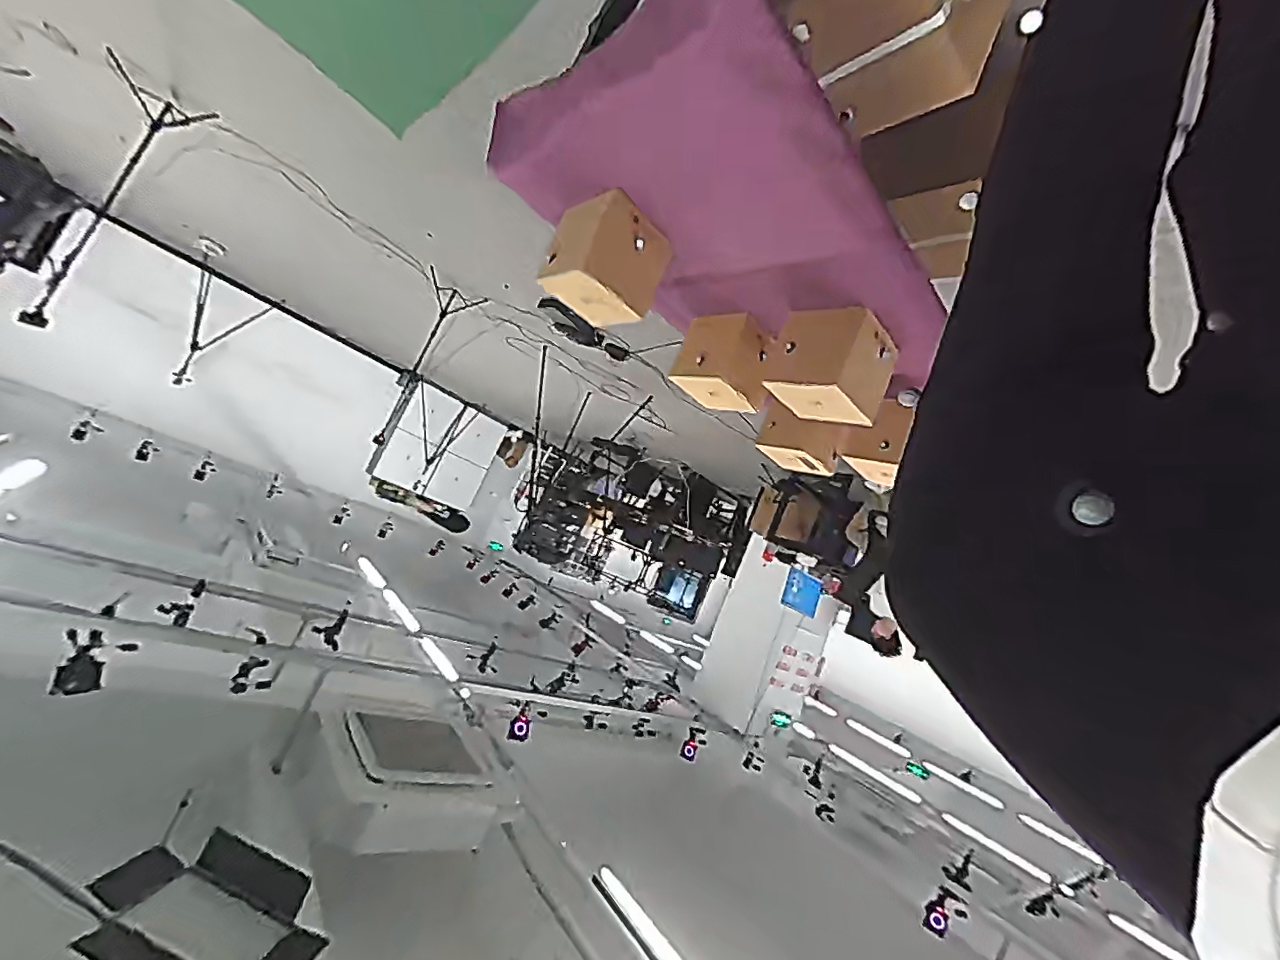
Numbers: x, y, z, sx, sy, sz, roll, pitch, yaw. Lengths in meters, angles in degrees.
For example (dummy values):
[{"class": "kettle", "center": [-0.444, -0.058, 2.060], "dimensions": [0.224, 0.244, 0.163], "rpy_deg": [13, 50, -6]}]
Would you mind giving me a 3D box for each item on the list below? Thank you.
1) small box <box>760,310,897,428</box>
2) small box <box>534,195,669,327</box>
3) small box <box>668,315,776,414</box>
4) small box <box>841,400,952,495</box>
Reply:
[{"class": "small box", "center": [0.381, -0.224, 1.089], "dimensions": [0.168, 0.176, 0.179], "rpy_deg": [29, 172, -40]}, {"class": "small box", "center": [-0.073, -0.423, 1.067], "dimensions": [0.168, 0.176, 0.179], "rpy_deg": [27, 171, -40]}, {"class": "small box", "center": [0.204, -0.276, 1.293], "dimensions": [0.168, 0.176, 0.179], "rpy_deg": [30, 169, -40]}, {"class": "small box", "center": [0.629, -0.083, 1.312], "dimensions": [0.168, 0.176, 0.179], "rpy_deg": [30, 173, -37]}]
